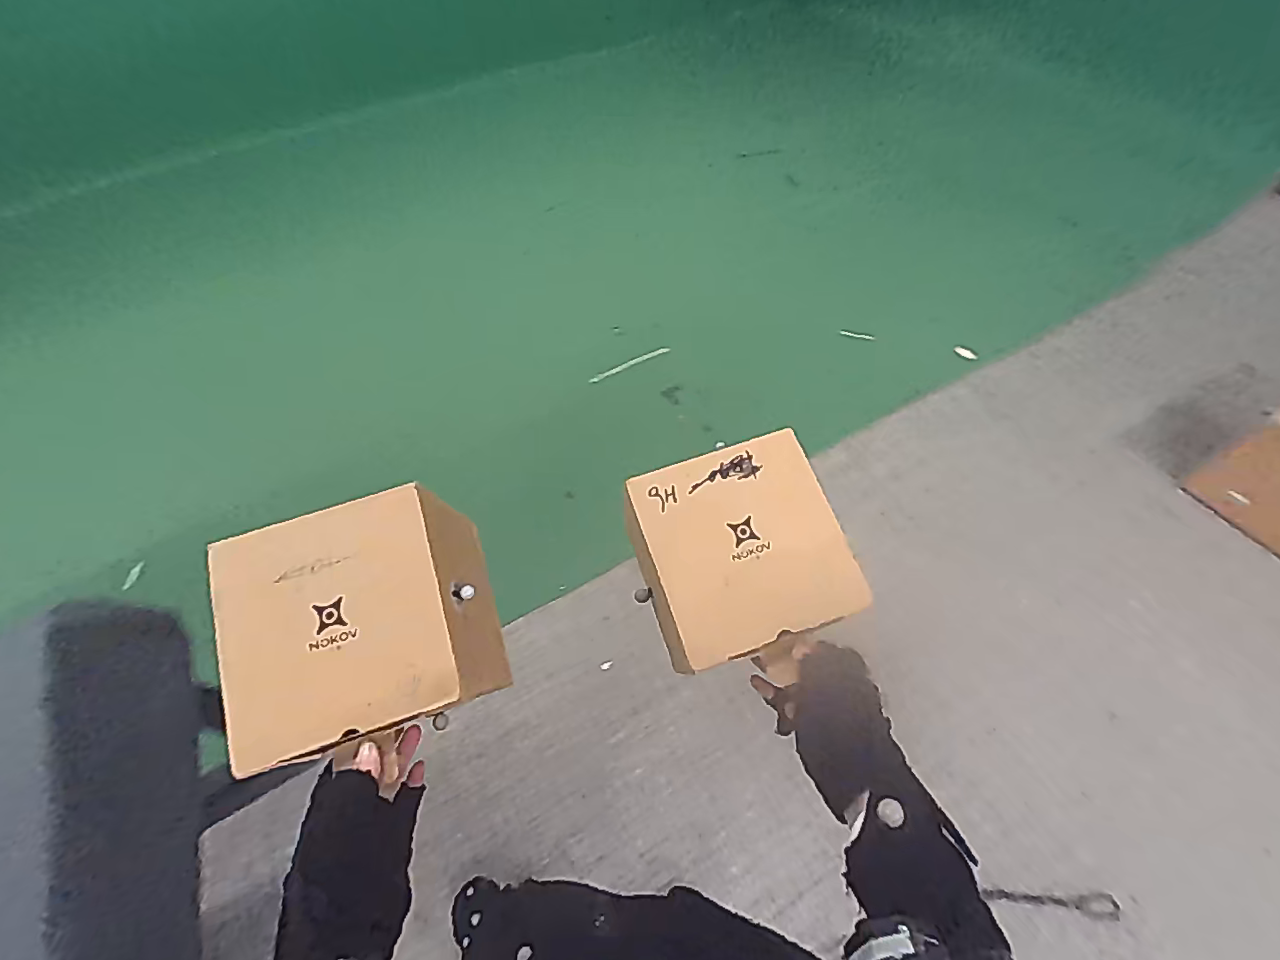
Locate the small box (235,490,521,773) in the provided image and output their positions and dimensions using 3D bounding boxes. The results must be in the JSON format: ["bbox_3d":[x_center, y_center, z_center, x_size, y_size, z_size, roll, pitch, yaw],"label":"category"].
[{"bbox_3d":[-0.221,0.133,0.495,0.168,0.176,0.179,-19,73,-5],"label":"small box"}]
